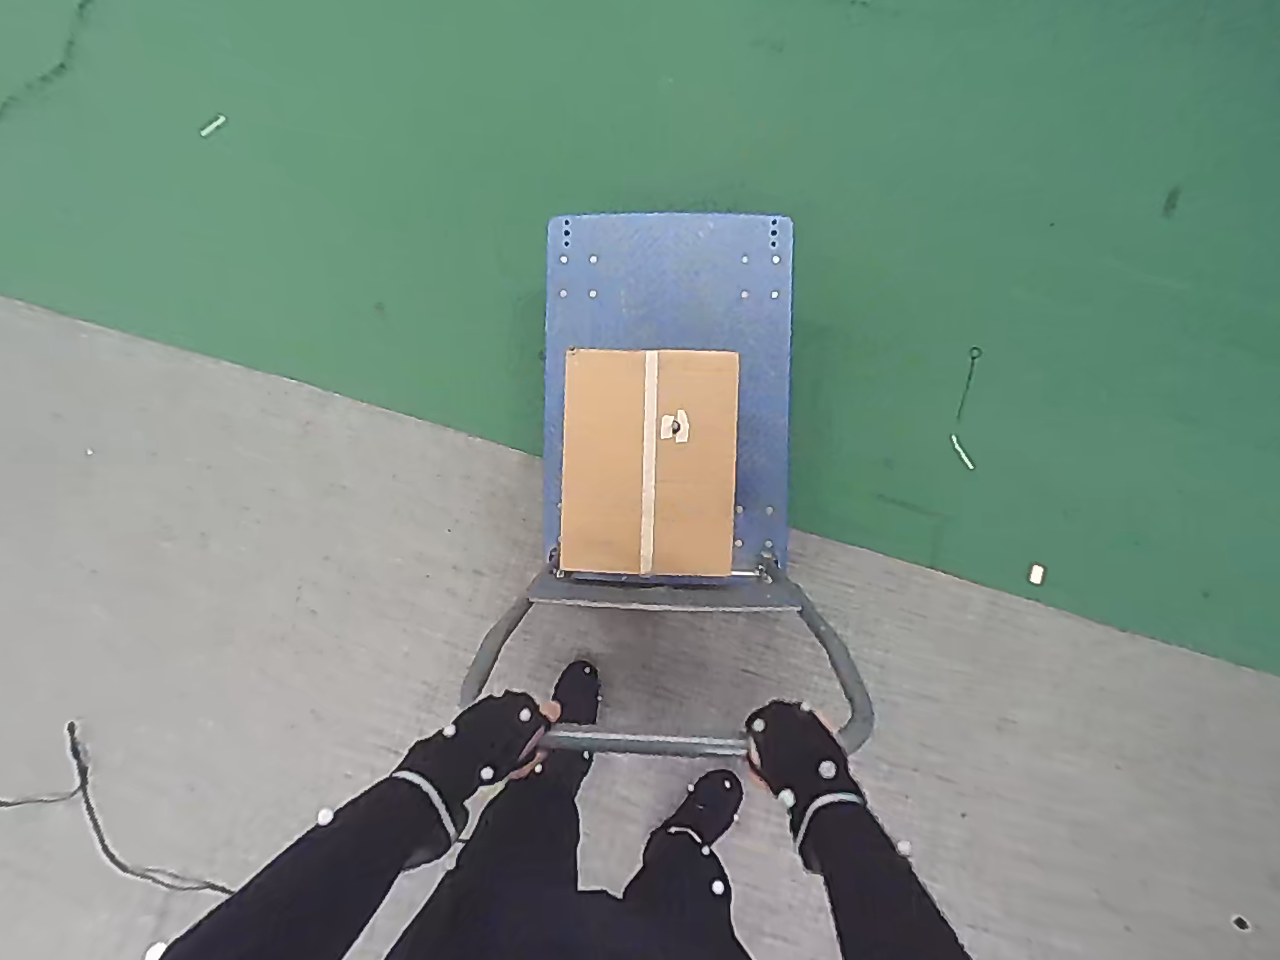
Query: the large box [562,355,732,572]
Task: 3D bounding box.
[{"bbox_3d":[0.021,-0.033,1.144,0.320,0.320,0.408,2,91,3],"label":"large box"}]
